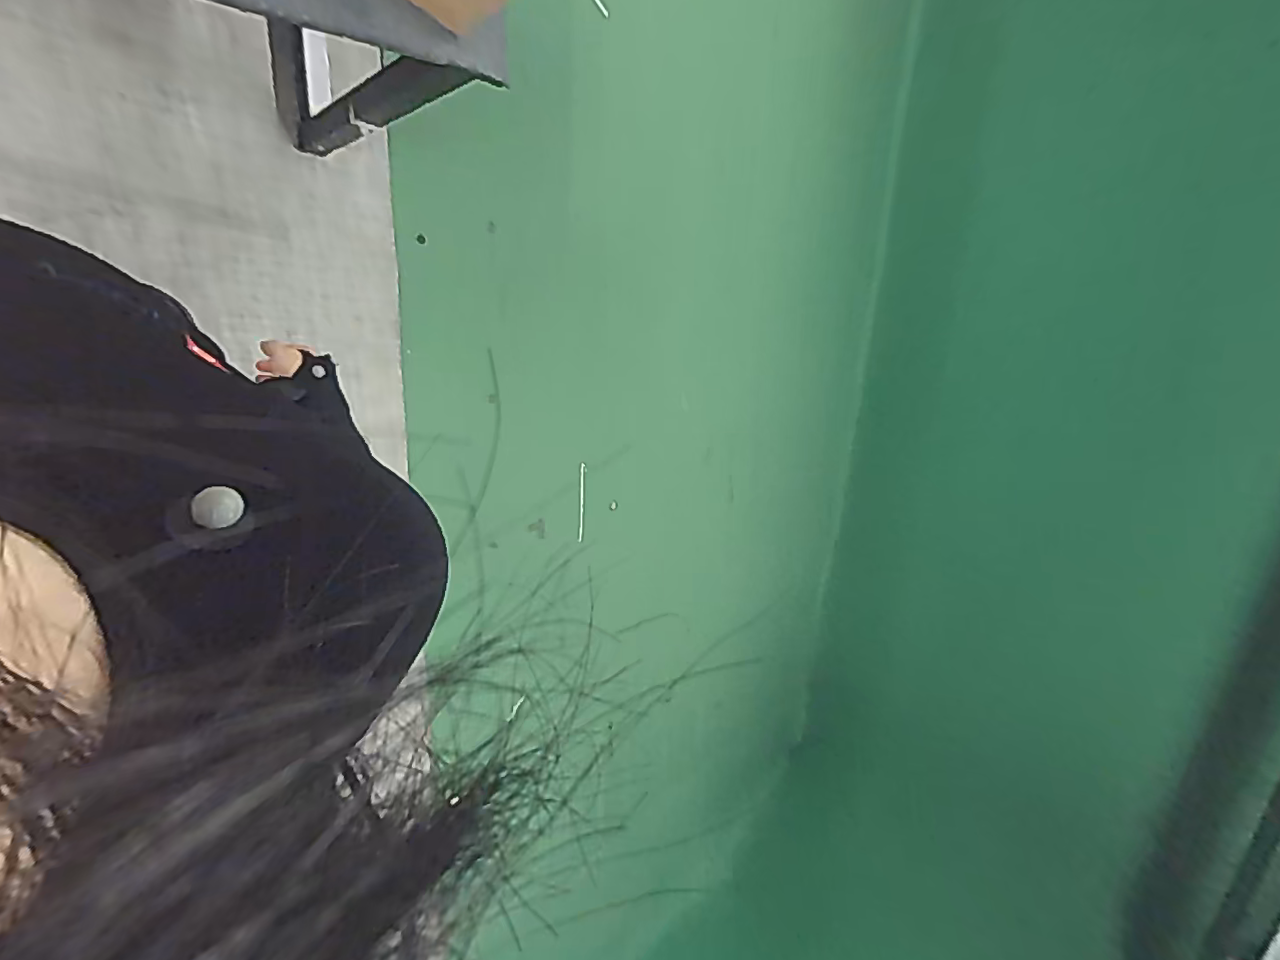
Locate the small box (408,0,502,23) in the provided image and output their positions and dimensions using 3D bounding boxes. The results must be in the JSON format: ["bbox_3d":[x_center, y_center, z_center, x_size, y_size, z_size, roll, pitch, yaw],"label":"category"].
[{"bbox_3d":[-0.221,-0.649,0.584,0.179,0.176,0.168,6,94,-47],"label":"small box"}]
